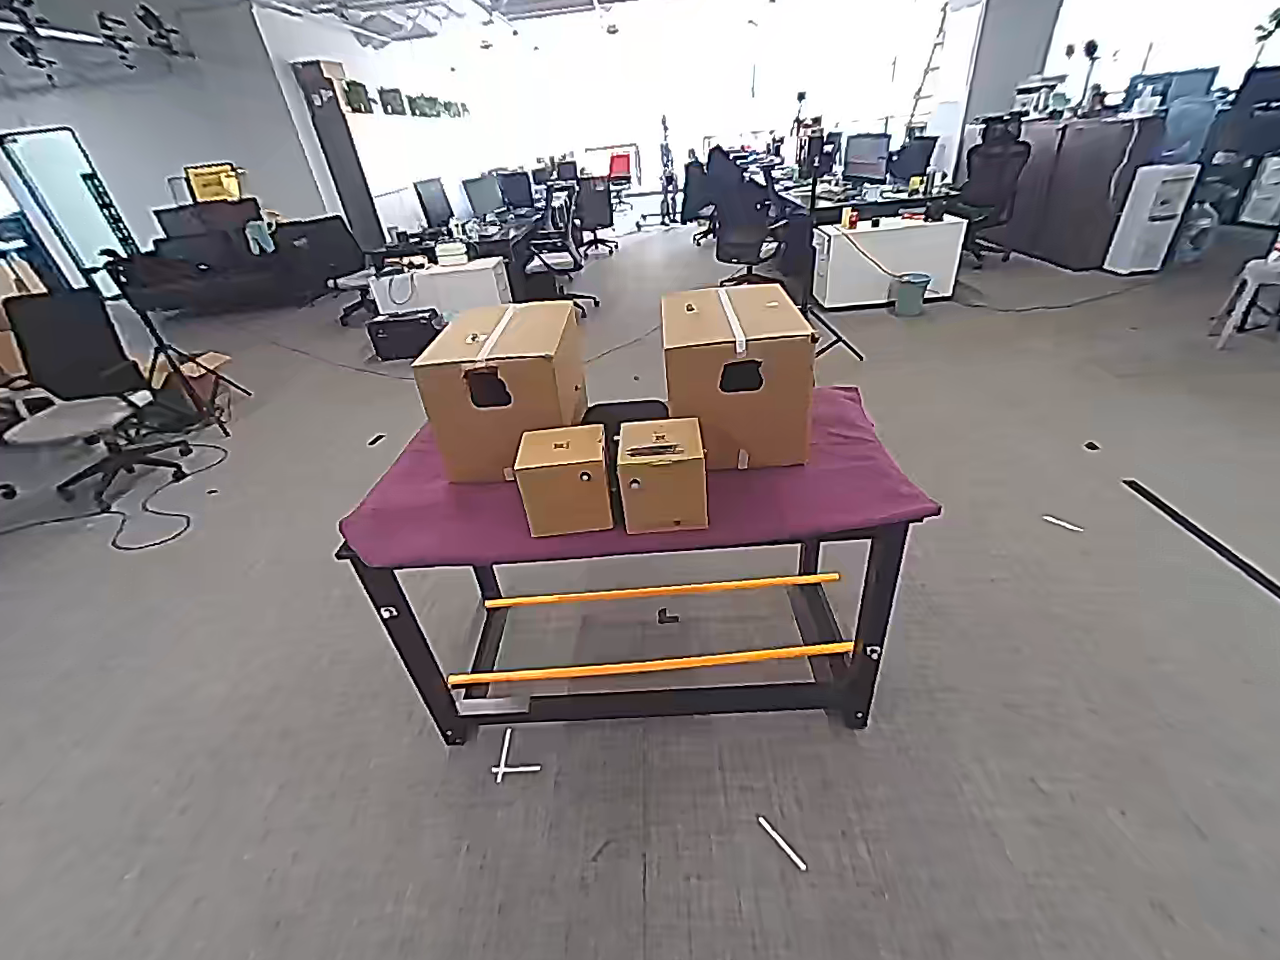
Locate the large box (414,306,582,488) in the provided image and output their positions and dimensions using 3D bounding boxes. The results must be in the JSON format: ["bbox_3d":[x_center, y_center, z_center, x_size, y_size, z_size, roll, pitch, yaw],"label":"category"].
[{"bbox_3d":[-0.330,-0.227,1.402,0.320,0.320,0.408,-5,36,3],"label":"large box"}]
